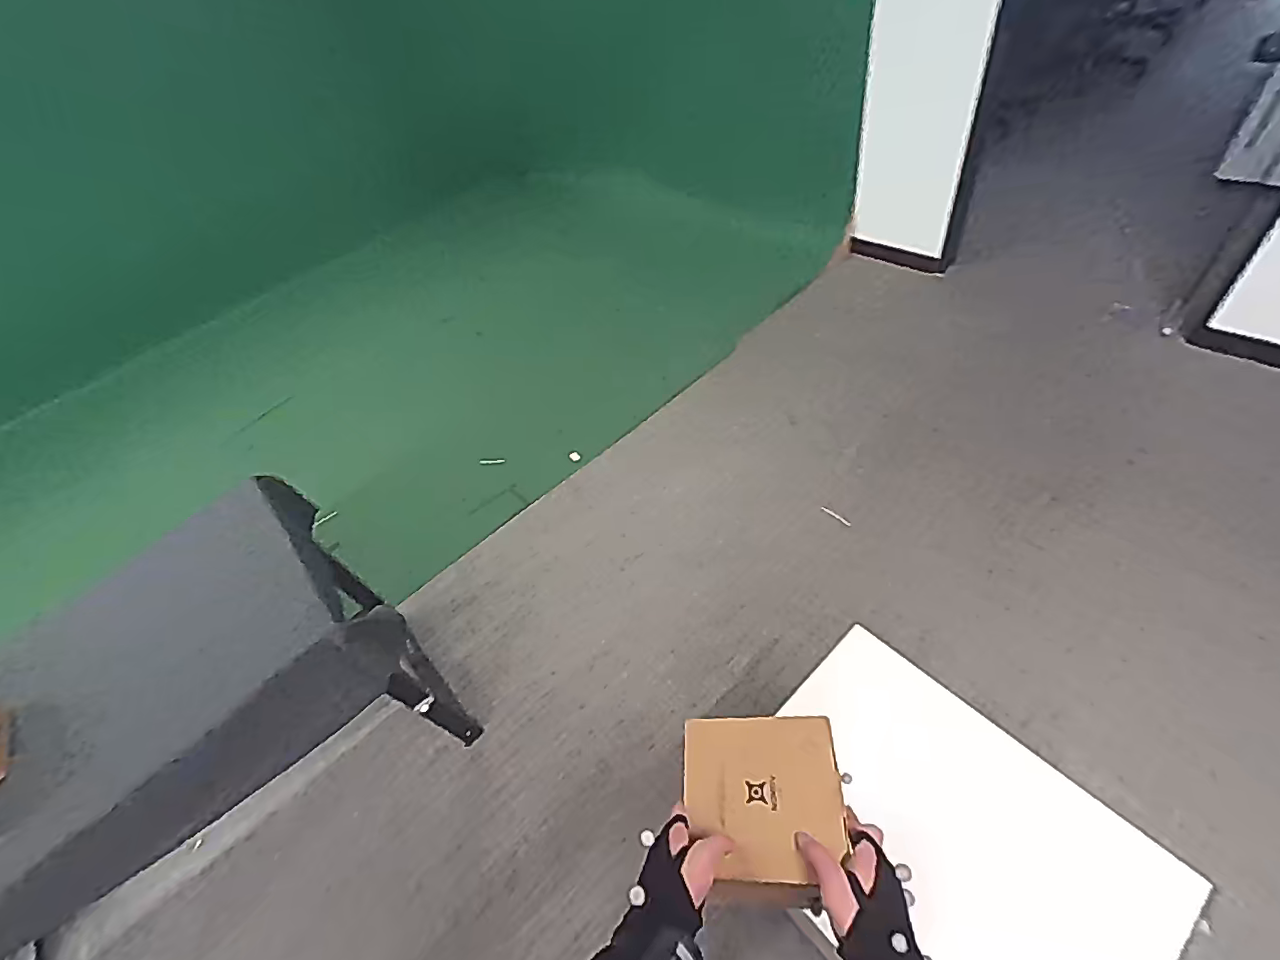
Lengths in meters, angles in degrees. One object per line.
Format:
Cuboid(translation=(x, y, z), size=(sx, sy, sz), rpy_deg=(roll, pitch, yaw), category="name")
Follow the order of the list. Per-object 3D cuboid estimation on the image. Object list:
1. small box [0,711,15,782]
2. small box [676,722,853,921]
Cuboid(translation=(-1.240, 0.488, 0.911), size=(0.179, 0.176, 0.168), rpy_deg=(-39, 52, -20), category="small box")
Cuboid(translation=(0.149, 0.406, 0.643), size=(0.179, 0.176, 0.168), rpy_deg=(-11, 42, 15), category="small box")
